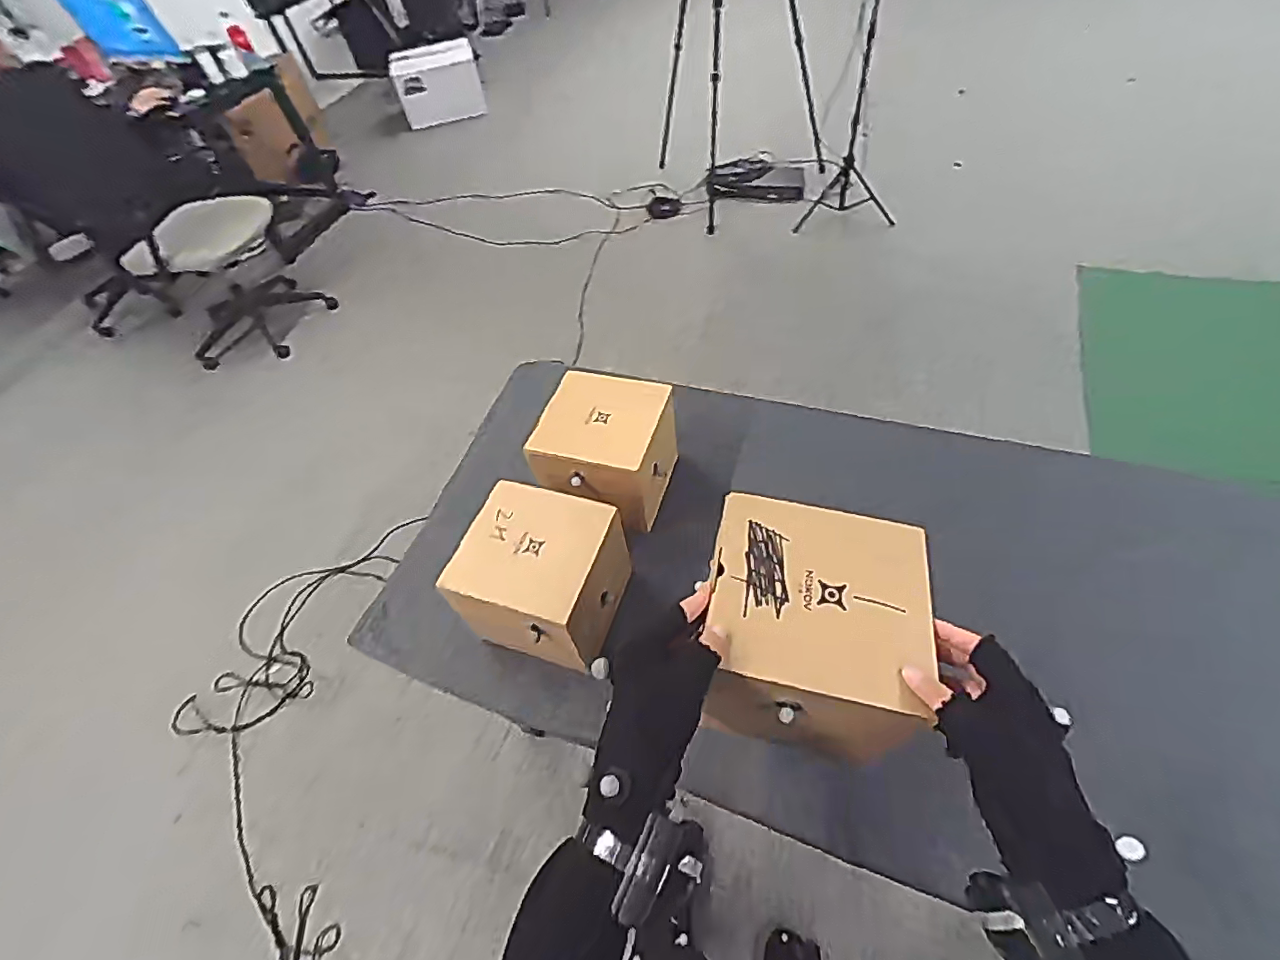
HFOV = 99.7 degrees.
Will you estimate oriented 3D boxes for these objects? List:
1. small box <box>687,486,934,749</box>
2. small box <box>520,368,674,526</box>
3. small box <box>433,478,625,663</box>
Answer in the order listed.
[{"bbox_3d":[0.144,0.132,0.502,0.179,0.176,0.168,12,55,9],"label":"small box"},{"bbox_3d":[-0.052,-0.047,0.840,0.179,0.176,0.168,11,57,17],"label":"small box"},{"bbox_3d":[-0.130,0.125,0.720,0.179,0.176,0.168,12,55,16],"label":"small box"}]
